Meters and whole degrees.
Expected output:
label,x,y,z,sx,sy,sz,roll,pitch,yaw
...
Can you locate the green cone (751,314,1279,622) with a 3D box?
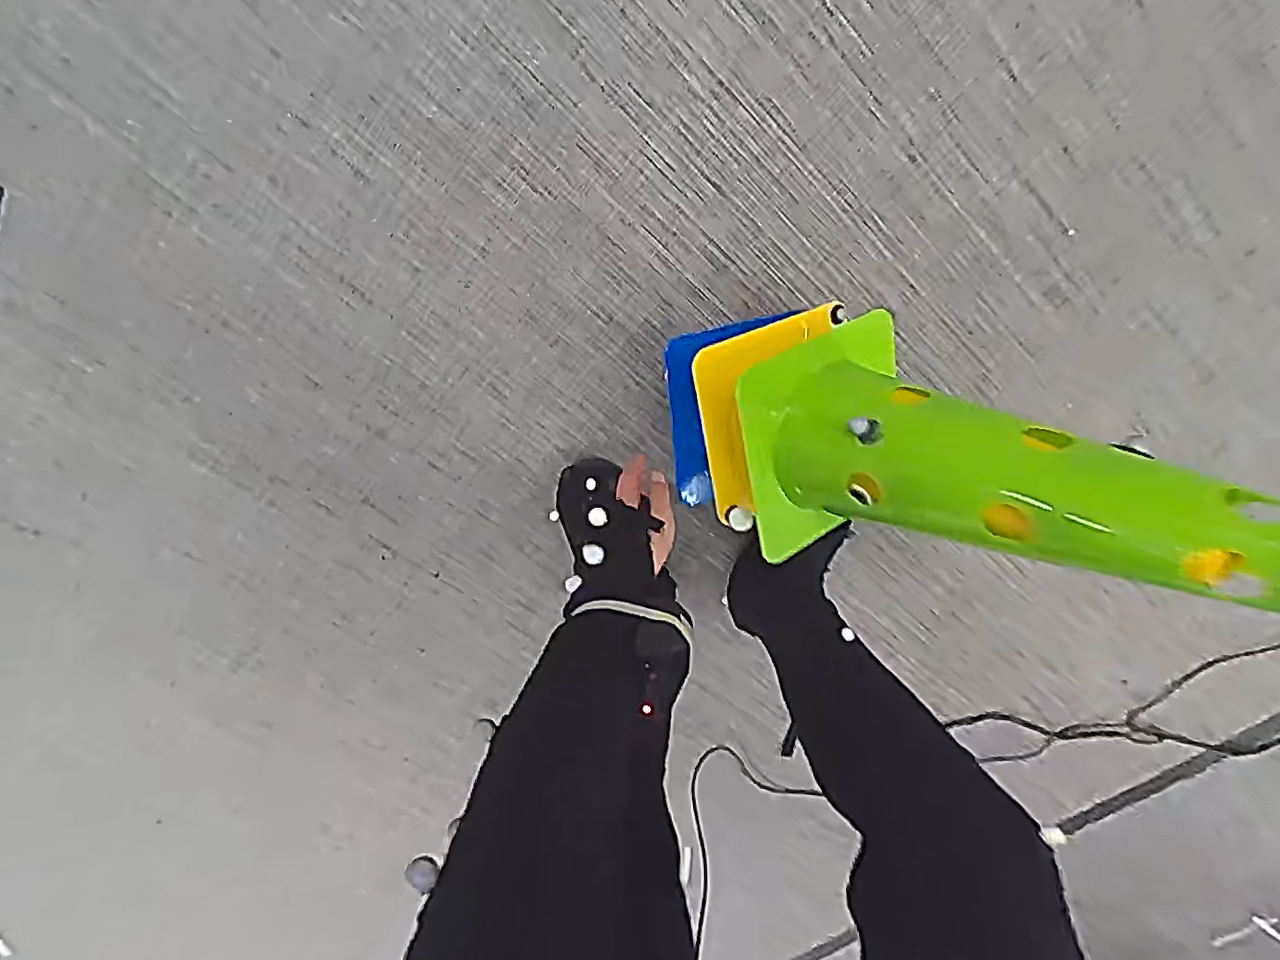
label,x,y,z,sx,sy,sz,roll,pitch,yaw
green cone,0.277,0.008,0.371,0.202,0.368,0.200,-27,117,-21
